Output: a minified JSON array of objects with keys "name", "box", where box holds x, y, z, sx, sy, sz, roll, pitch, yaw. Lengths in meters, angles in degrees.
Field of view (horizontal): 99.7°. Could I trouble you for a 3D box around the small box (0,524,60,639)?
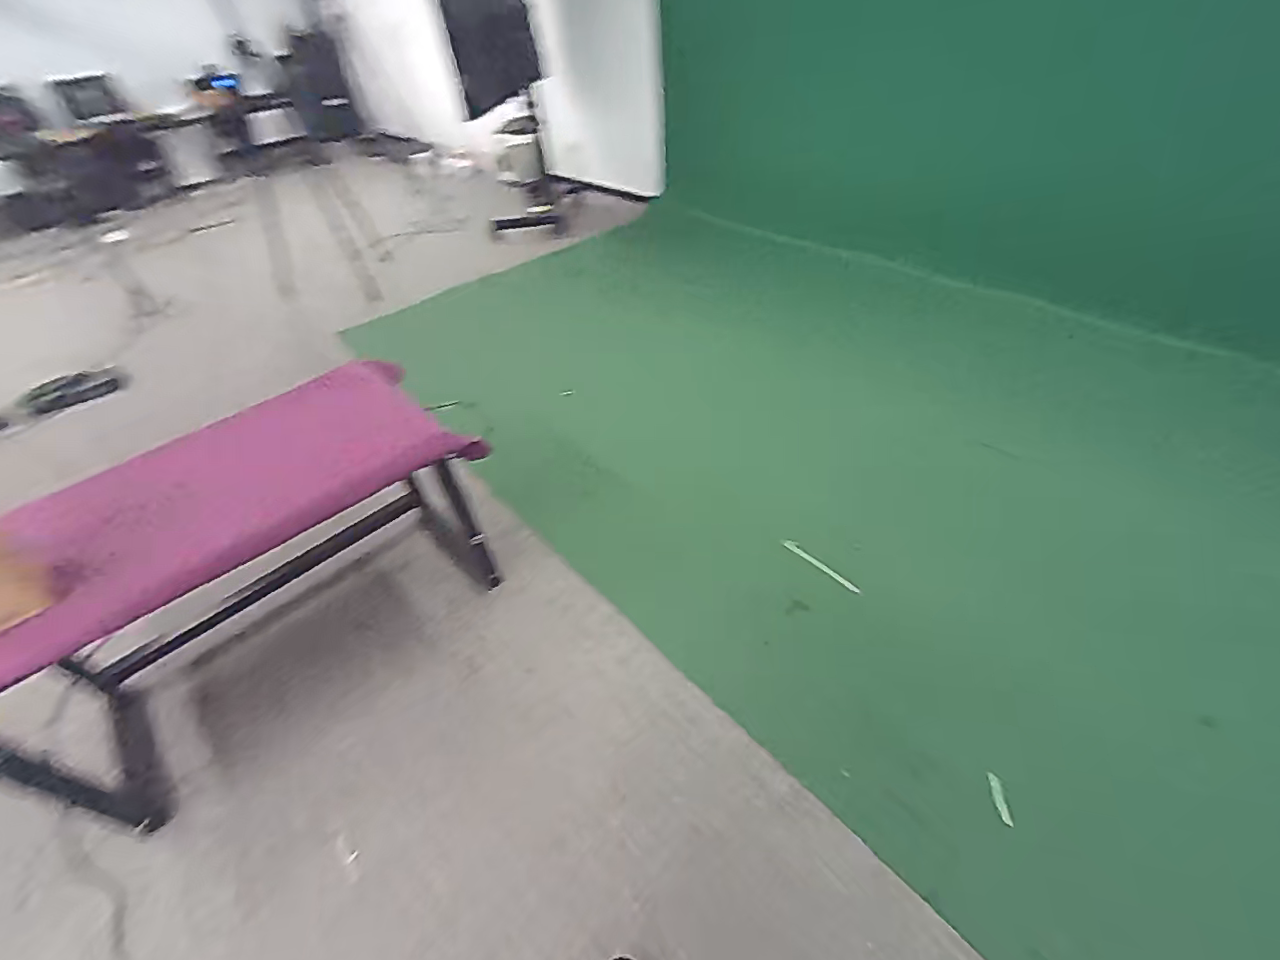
[{"name":"small box","box":[-1.394,0.226,1.142,0.168,0.176,0.179,-36,51,-27]}]
